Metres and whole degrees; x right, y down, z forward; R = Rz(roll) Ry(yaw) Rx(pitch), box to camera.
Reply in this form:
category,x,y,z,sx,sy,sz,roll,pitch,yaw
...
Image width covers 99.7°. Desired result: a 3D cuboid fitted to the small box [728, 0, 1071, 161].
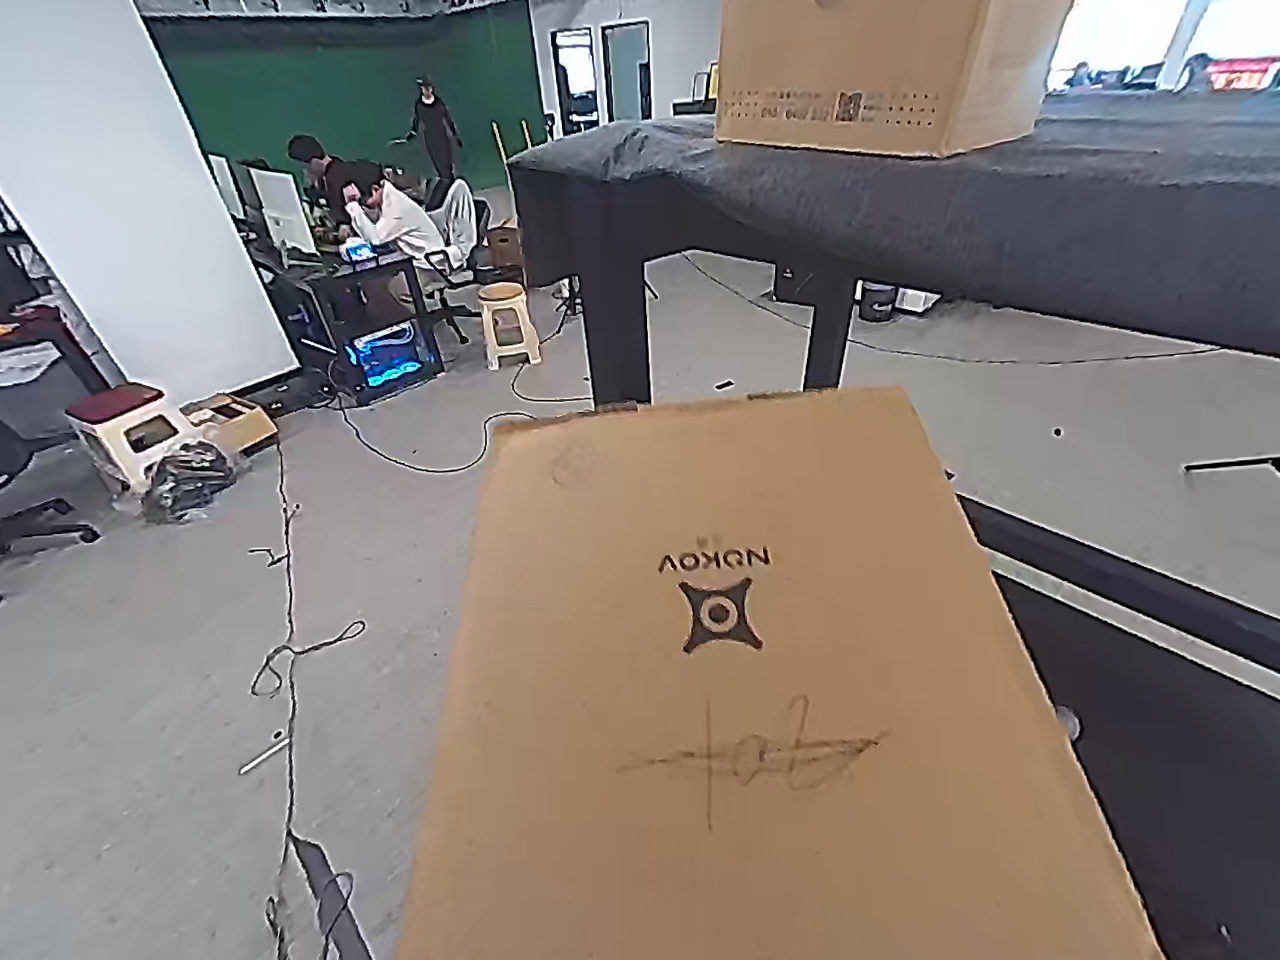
category,x,y,z,sx,sy,sz,roll,pitch,yaw
small box,0.172,-0.315,0.354,0.168,0.176,0.179,30,46,35
